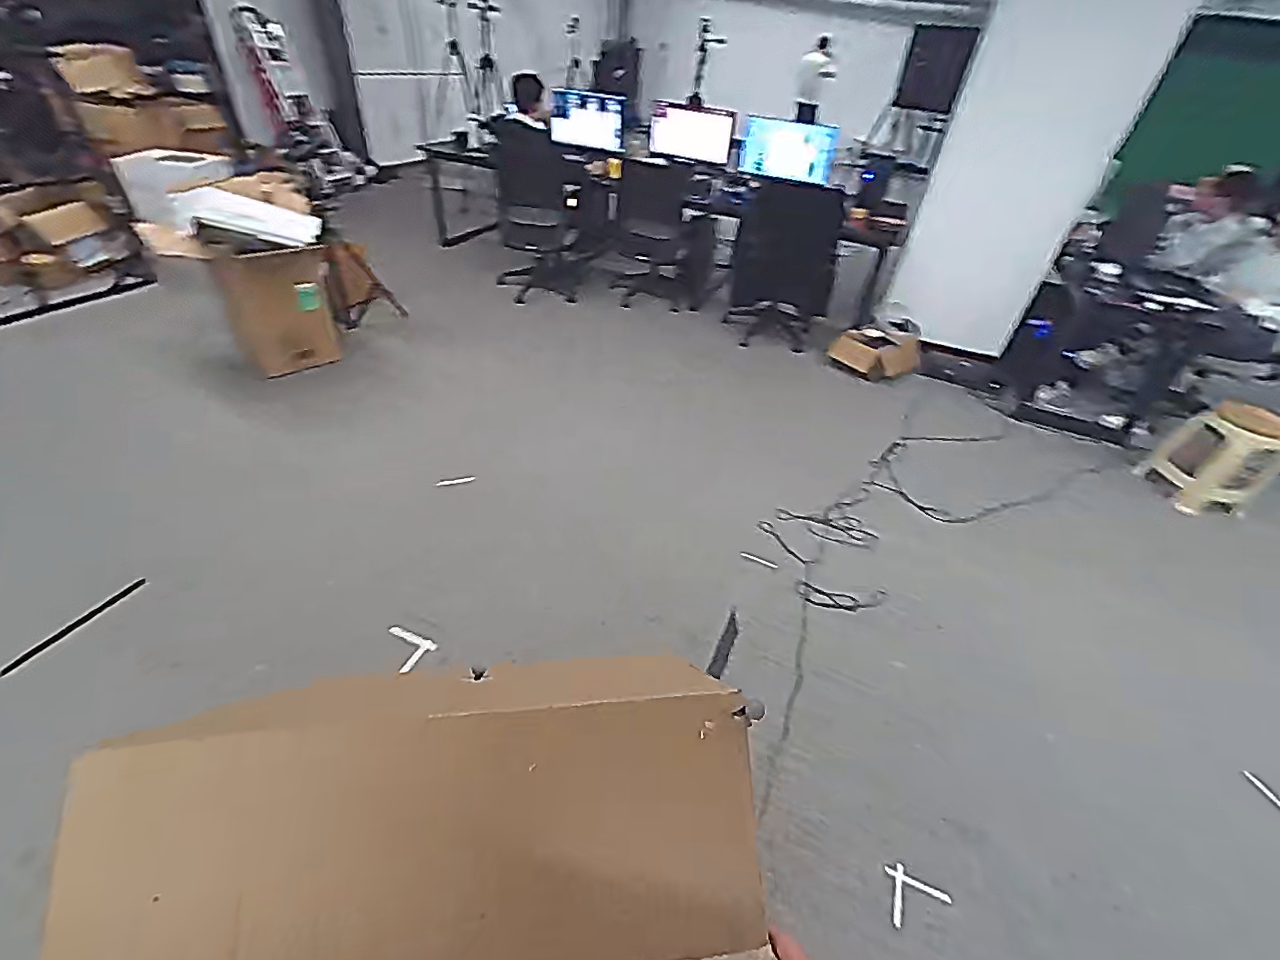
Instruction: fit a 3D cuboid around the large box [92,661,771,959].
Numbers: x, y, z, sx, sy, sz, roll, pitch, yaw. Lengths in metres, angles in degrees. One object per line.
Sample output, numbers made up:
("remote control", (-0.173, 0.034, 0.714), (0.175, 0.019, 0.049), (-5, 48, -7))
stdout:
("large box", (-0.130, 0.341, 0.463), (0.408, 0.320, 0.320), (-2, 78, -7))
